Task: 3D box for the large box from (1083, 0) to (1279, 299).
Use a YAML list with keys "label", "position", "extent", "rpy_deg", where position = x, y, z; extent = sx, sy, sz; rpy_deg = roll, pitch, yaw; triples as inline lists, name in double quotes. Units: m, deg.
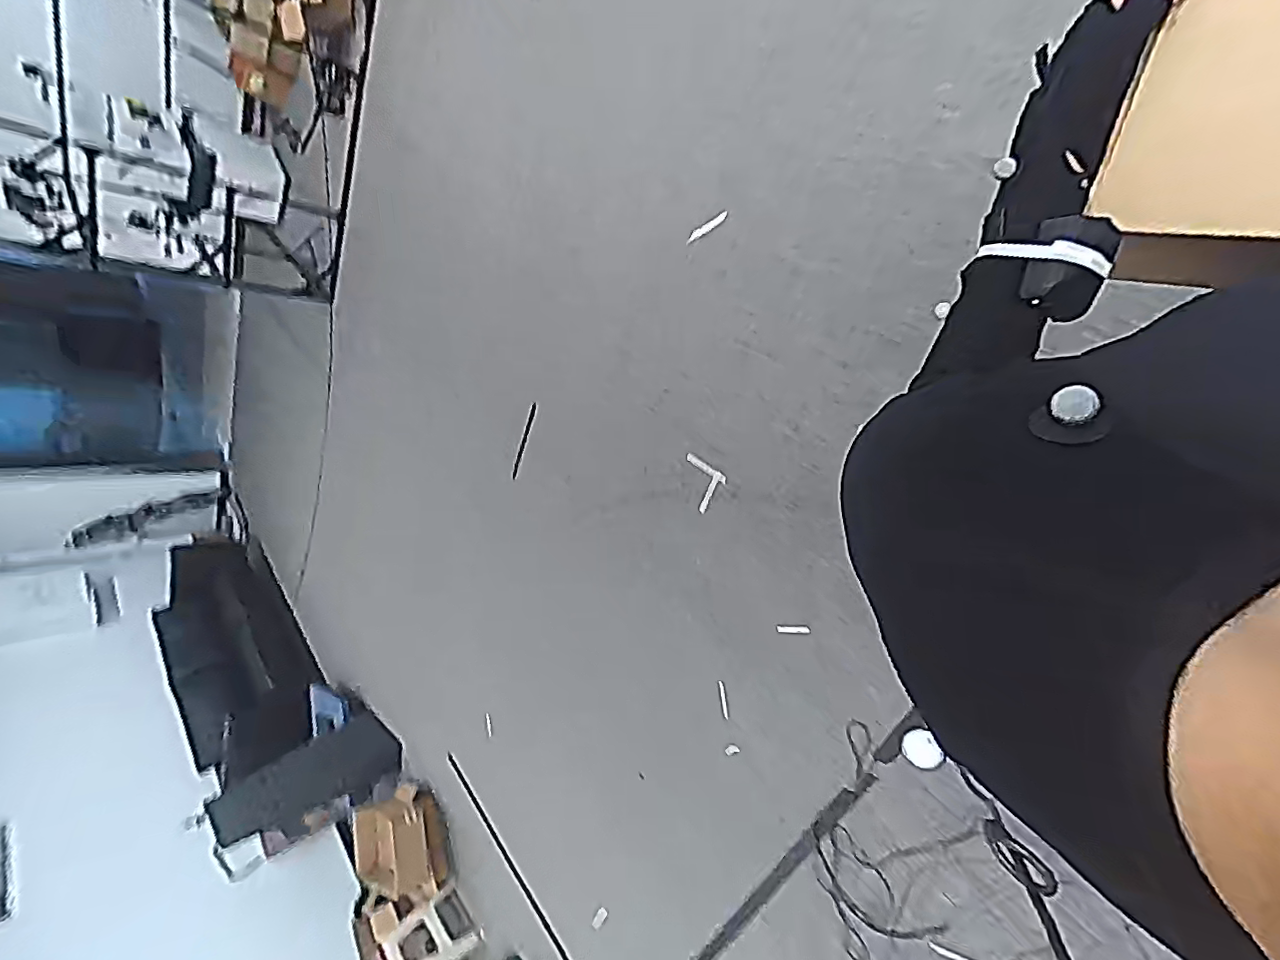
- label: "large box"
  position: [0.609, -0.296, 0.372]
  extent: [0.408, 0.320, 0.320]
  rpy_deg: [23, 113, 37]
